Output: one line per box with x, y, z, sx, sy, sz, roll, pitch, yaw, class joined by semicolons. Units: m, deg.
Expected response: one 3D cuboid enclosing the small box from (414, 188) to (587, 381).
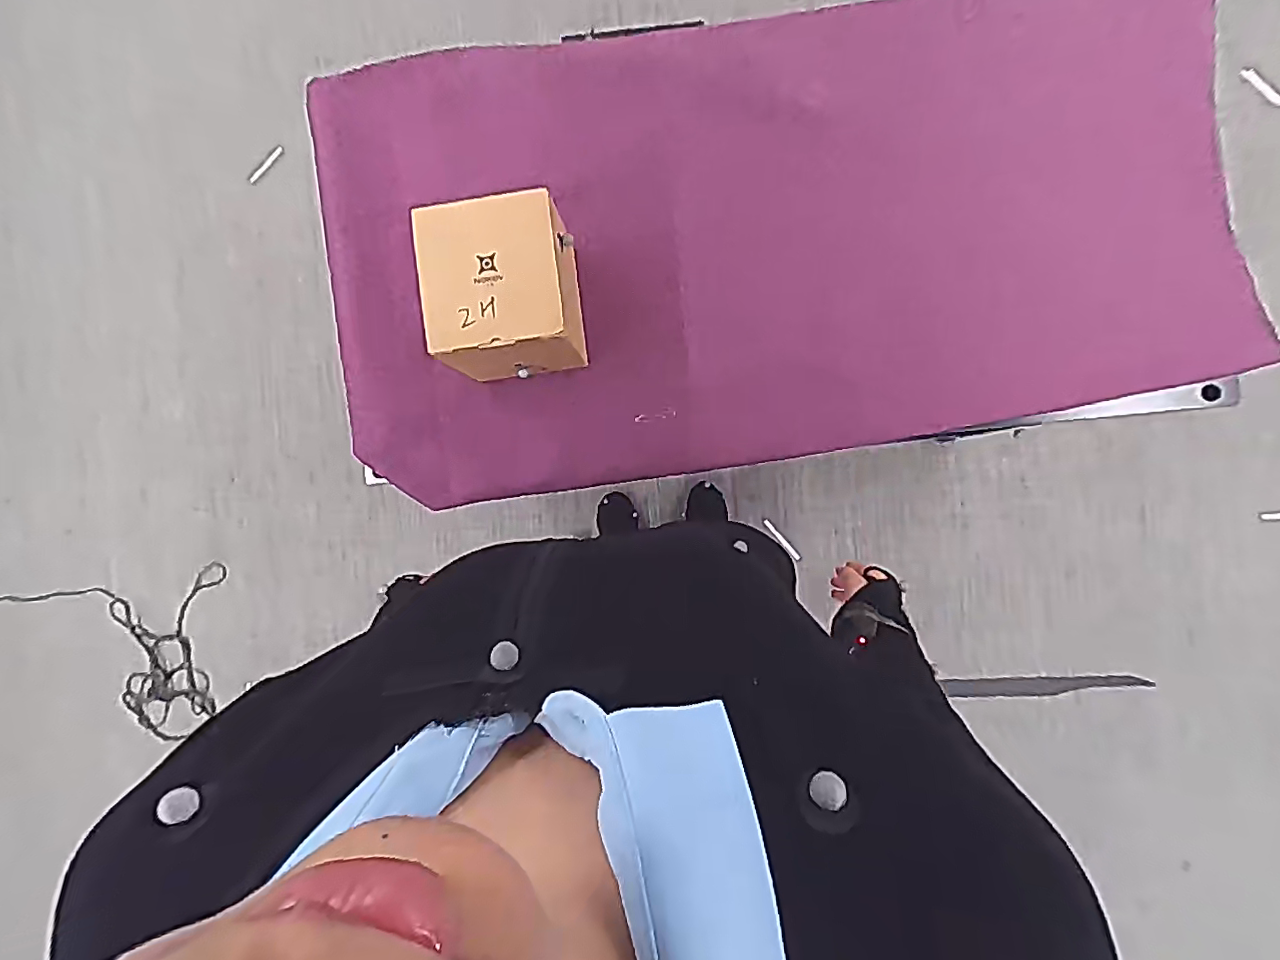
-0.169;-0.238;0.700;0.168;0.176;0.179;-7;89;4;small box
